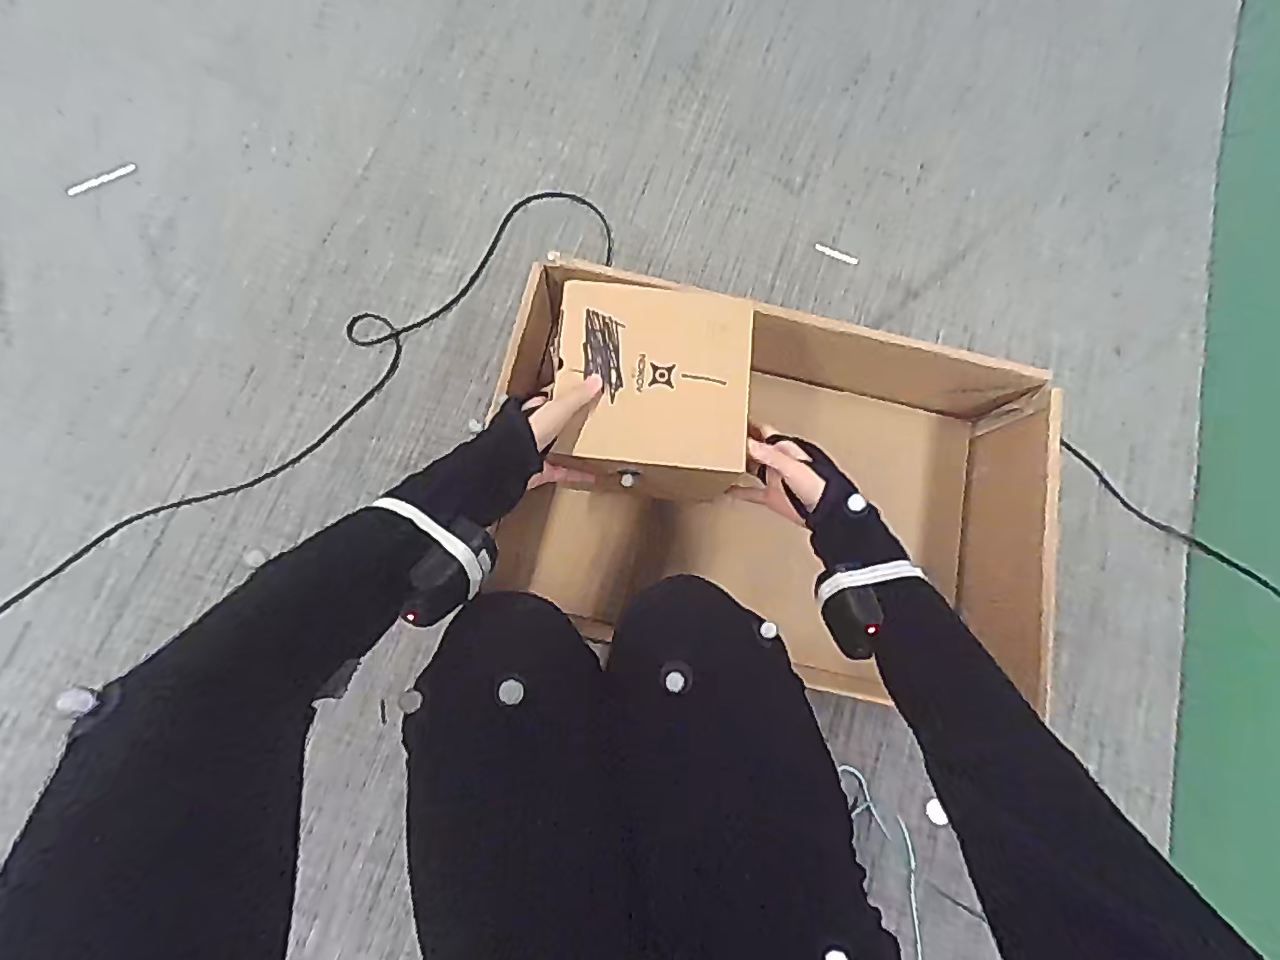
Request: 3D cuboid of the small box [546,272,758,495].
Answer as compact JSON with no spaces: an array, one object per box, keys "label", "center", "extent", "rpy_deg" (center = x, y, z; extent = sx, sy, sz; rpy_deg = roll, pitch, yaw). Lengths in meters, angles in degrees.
[{"label":"small box","center":[0.010,-0.084,0.554],"extent":[0.179,0.176,0.168],"rpy_deg":[6,78,-3]}]
